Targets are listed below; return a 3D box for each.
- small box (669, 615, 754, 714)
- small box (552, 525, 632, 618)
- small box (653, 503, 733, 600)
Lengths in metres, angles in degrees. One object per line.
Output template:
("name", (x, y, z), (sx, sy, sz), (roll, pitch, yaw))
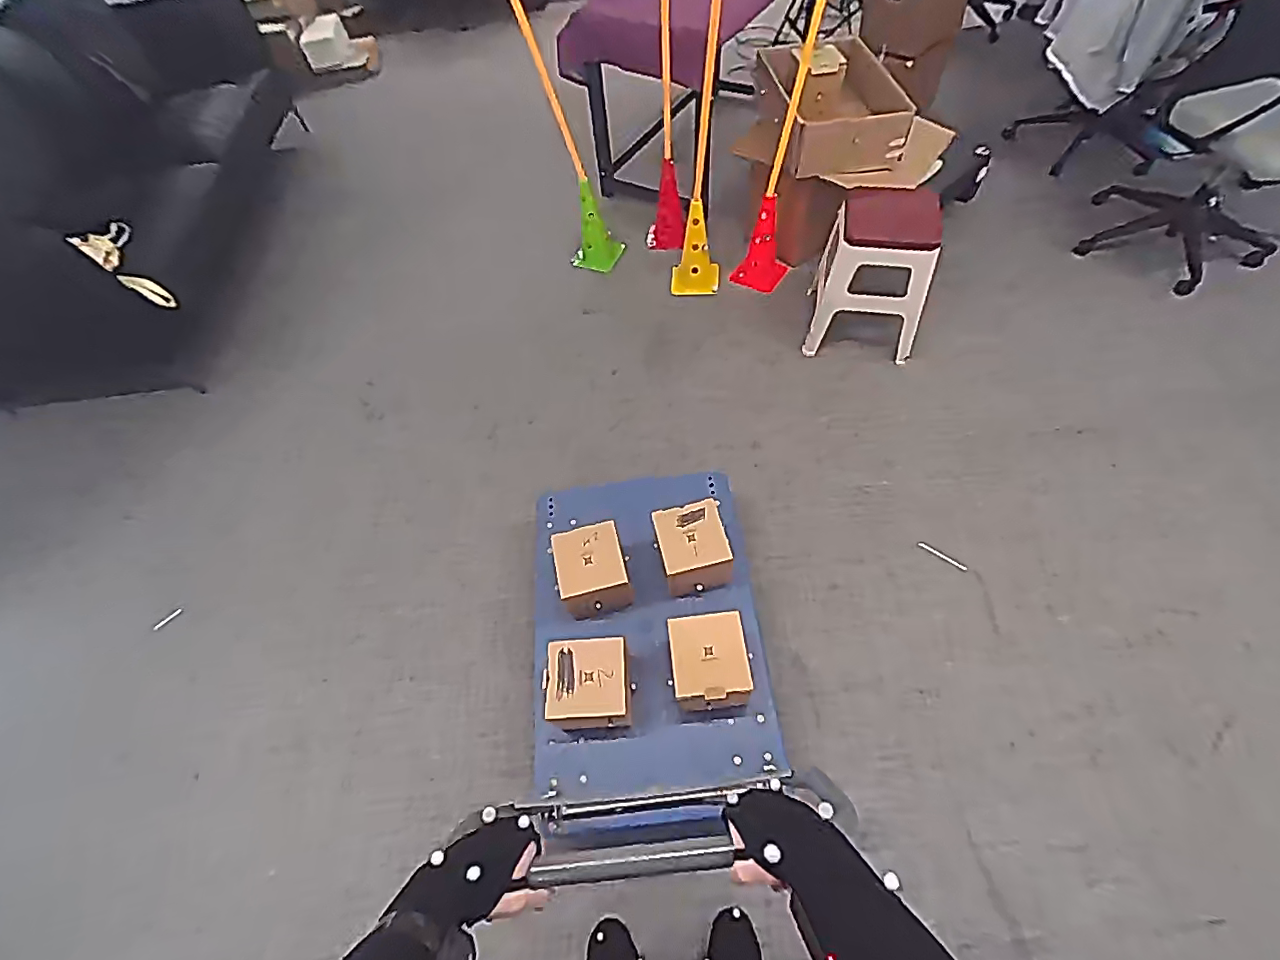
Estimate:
("small box", (0.158, 0.430, 1.251), (0.168, 0.176, 0.179), (-7, 59, 1))
("small box", (-0.120, 0.243, 1.392), (0.168, 0.176, 0.179), (-13, 58, -3))
("small box", (0.134, 0.188, 1.400), (0.168, 0.176, 0.179), (-14, 59, -2))
